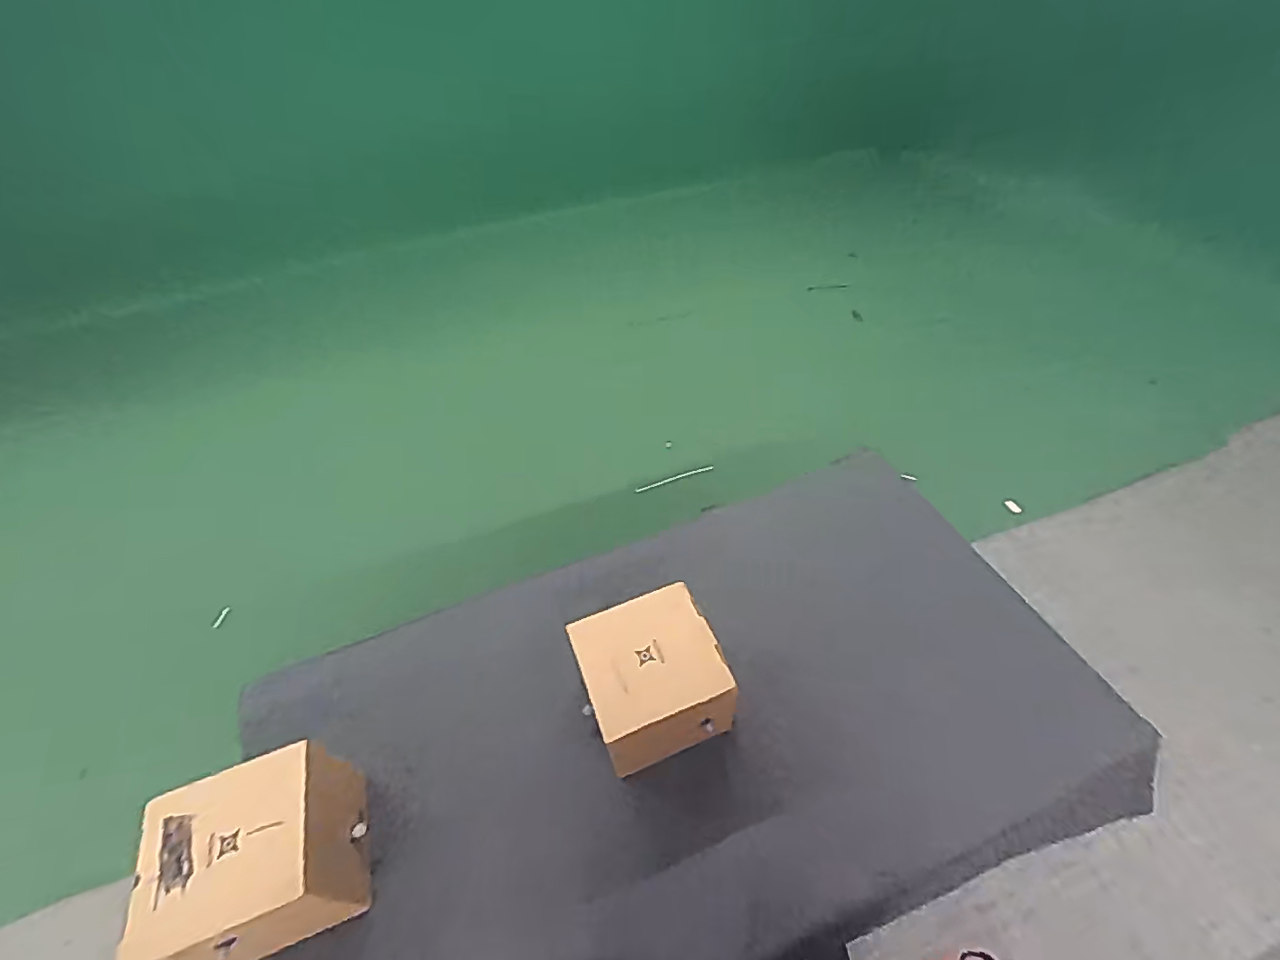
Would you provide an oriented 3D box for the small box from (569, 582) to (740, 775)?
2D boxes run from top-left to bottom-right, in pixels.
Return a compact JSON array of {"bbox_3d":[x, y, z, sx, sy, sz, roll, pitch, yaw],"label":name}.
[{"bbox_3d":[0.018,0.275,0.747,0.179,0.176,0.168,-20,50,-11],"label":"small box"}]

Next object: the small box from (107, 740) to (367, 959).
[{"bbox_3d":[-0.445,0.440,0.630,0.179,0.176,0.168,-18,51,-13],"label":"small box"}]
